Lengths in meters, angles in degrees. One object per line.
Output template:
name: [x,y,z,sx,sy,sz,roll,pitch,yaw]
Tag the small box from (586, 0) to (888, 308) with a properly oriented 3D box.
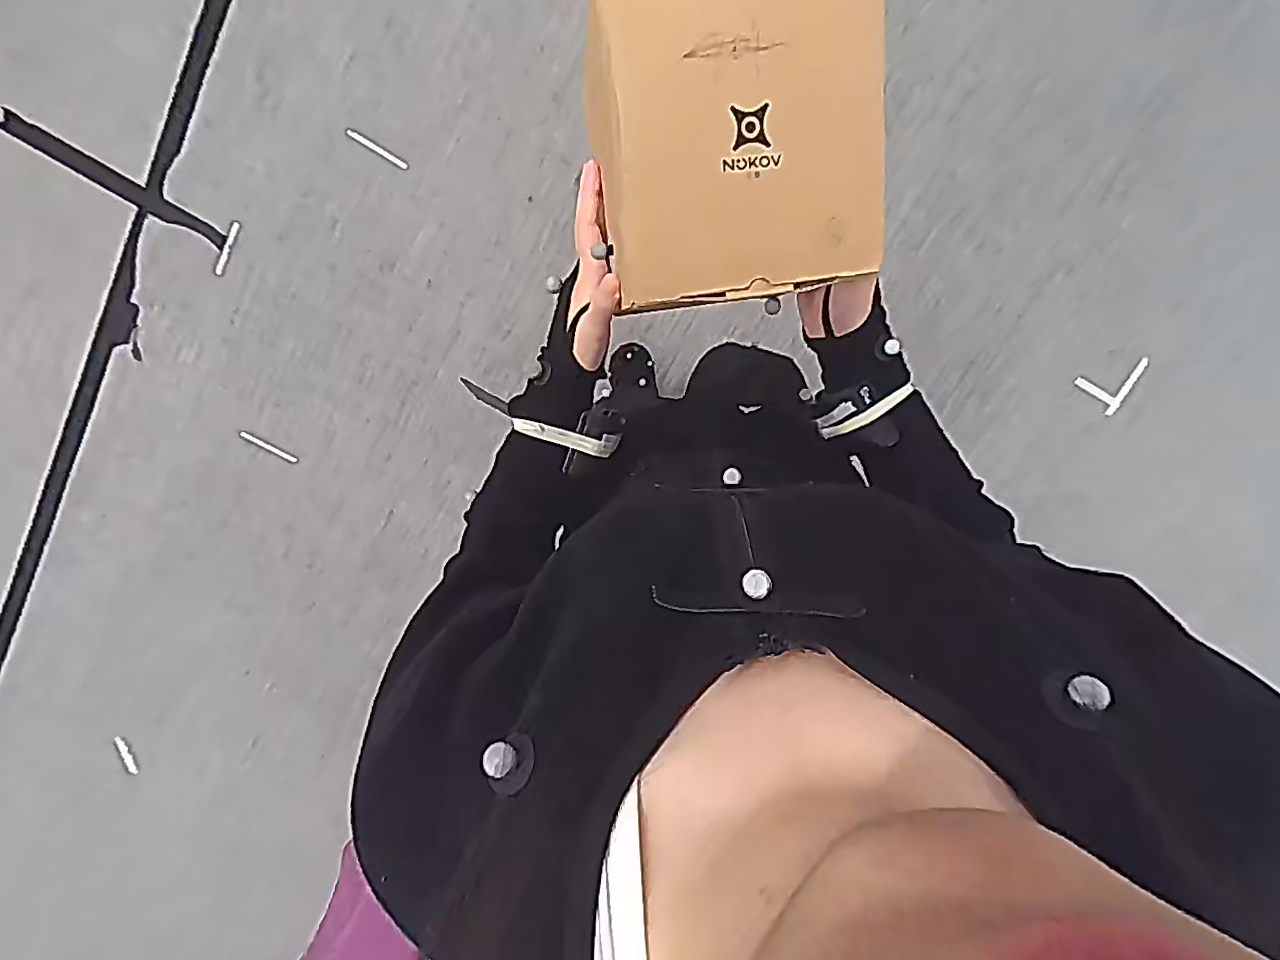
small box: [0.055,-0.223,0.390,0.168,0.176,0.179,-9,105,-6]
